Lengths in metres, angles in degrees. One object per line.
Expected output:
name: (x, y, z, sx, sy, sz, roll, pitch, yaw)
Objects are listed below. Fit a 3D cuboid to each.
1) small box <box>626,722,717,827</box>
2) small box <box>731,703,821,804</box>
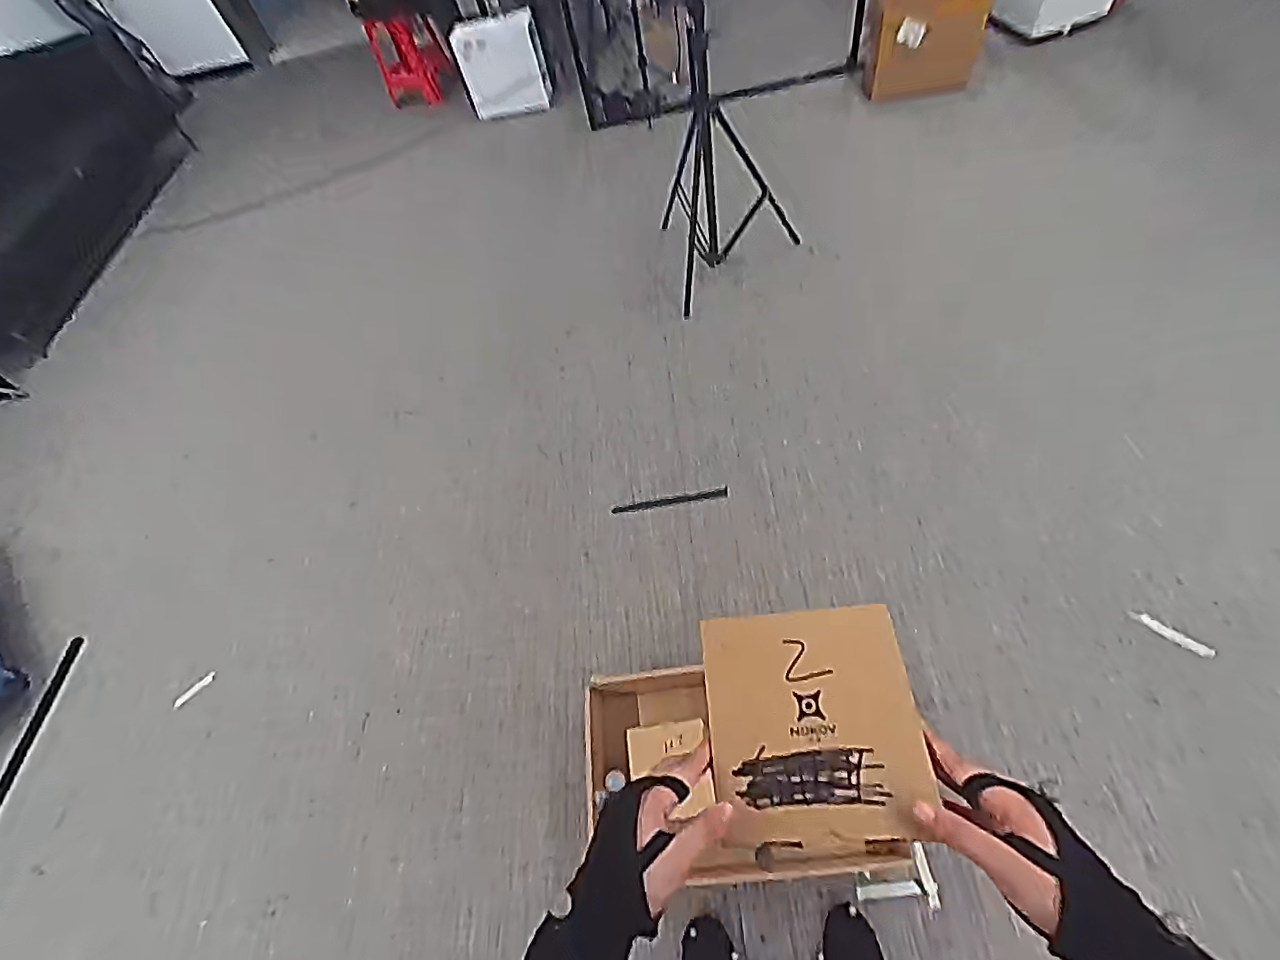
small box: (0.070, 0.636, 1.165, 0.168, 0.176, 0.179, -9, 57, 3)
small box: (0.282, 0.587, 1.156, 0.168, 0.176, 0.179, -5, 58, 9)
